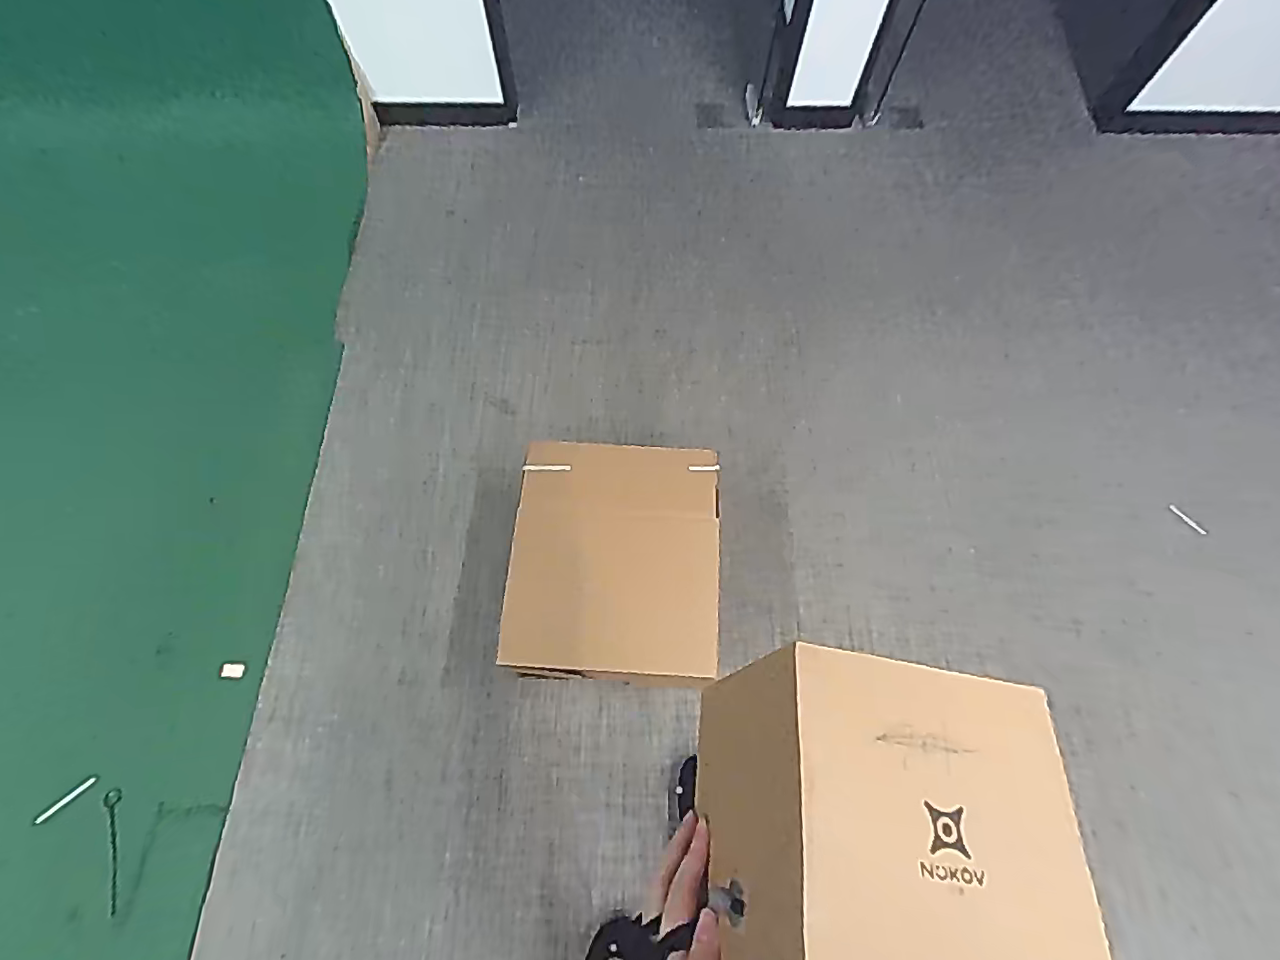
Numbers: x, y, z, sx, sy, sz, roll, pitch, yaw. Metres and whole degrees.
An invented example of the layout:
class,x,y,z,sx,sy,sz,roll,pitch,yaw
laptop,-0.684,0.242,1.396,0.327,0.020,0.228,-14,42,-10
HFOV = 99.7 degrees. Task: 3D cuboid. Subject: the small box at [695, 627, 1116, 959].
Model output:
class,x,y,z,sx,sy,sz,roll,pitch,yaw
small box,0.139,0.214,0.344,0.168,0.176,0.179,13,58,-7
